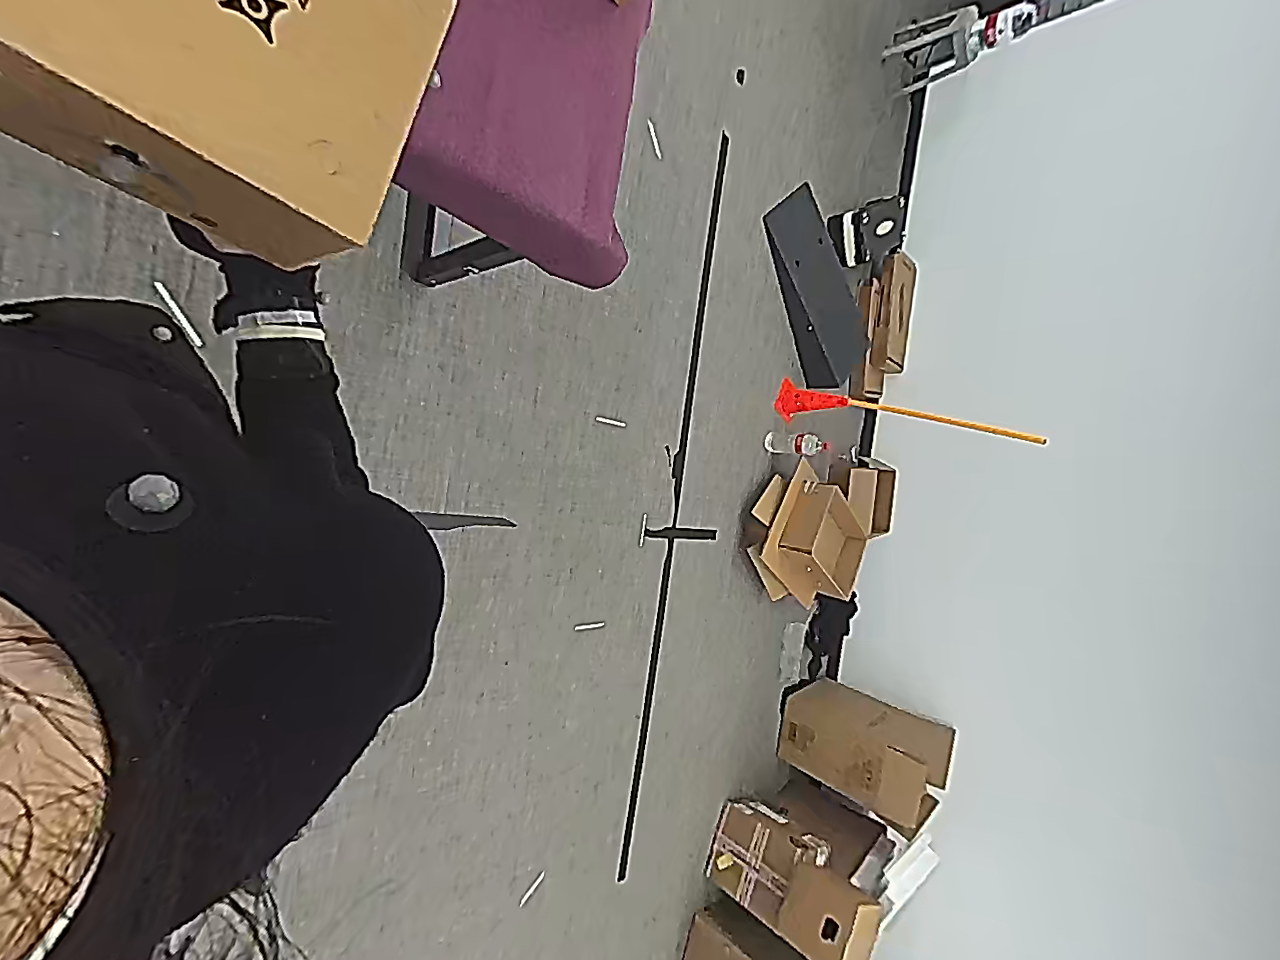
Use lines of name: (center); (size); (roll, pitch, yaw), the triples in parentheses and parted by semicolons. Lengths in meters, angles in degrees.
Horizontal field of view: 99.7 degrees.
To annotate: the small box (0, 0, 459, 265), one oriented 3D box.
small box: (-0.246, -0.255, 0.329); (0.168, 0.176, 0.179); (22, 83, -47)
